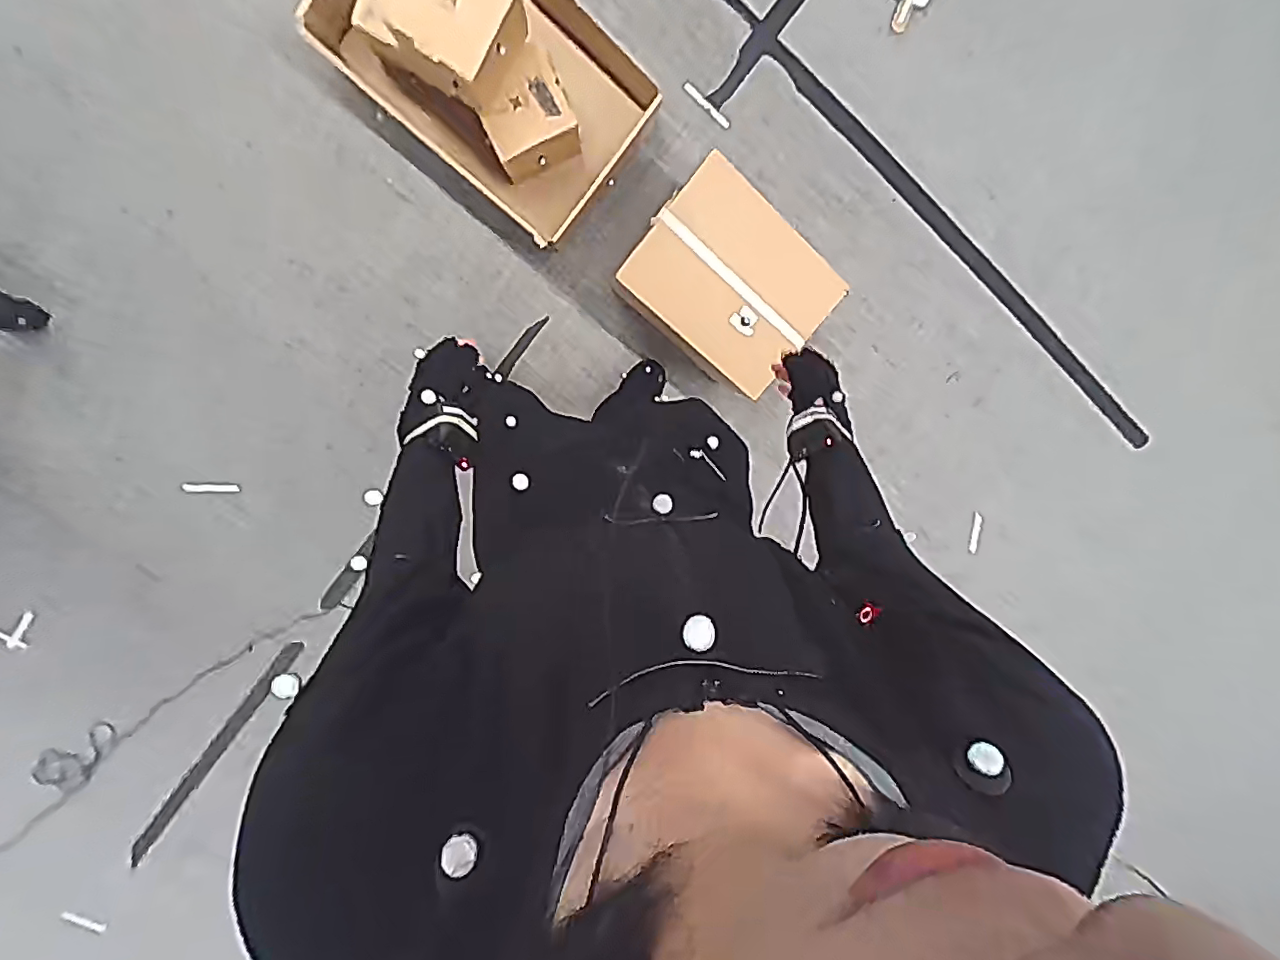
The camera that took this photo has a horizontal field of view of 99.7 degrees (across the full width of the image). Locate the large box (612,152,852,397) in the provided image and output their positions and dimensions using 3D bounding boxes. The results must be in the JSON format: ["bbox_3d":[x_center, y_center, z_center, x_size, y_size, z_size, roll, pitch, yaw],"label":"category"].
[{"bbox_3d":[0.187,-0.452,1.257,0.408,0.320,0.320,38,100,-15],"label":"large box"}]

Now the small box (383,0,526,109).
[{"bbox_3d":[-0.313,-0.808,0.955,0.168,0.176,0.179,30,100,-14],"label":"small box"}]
